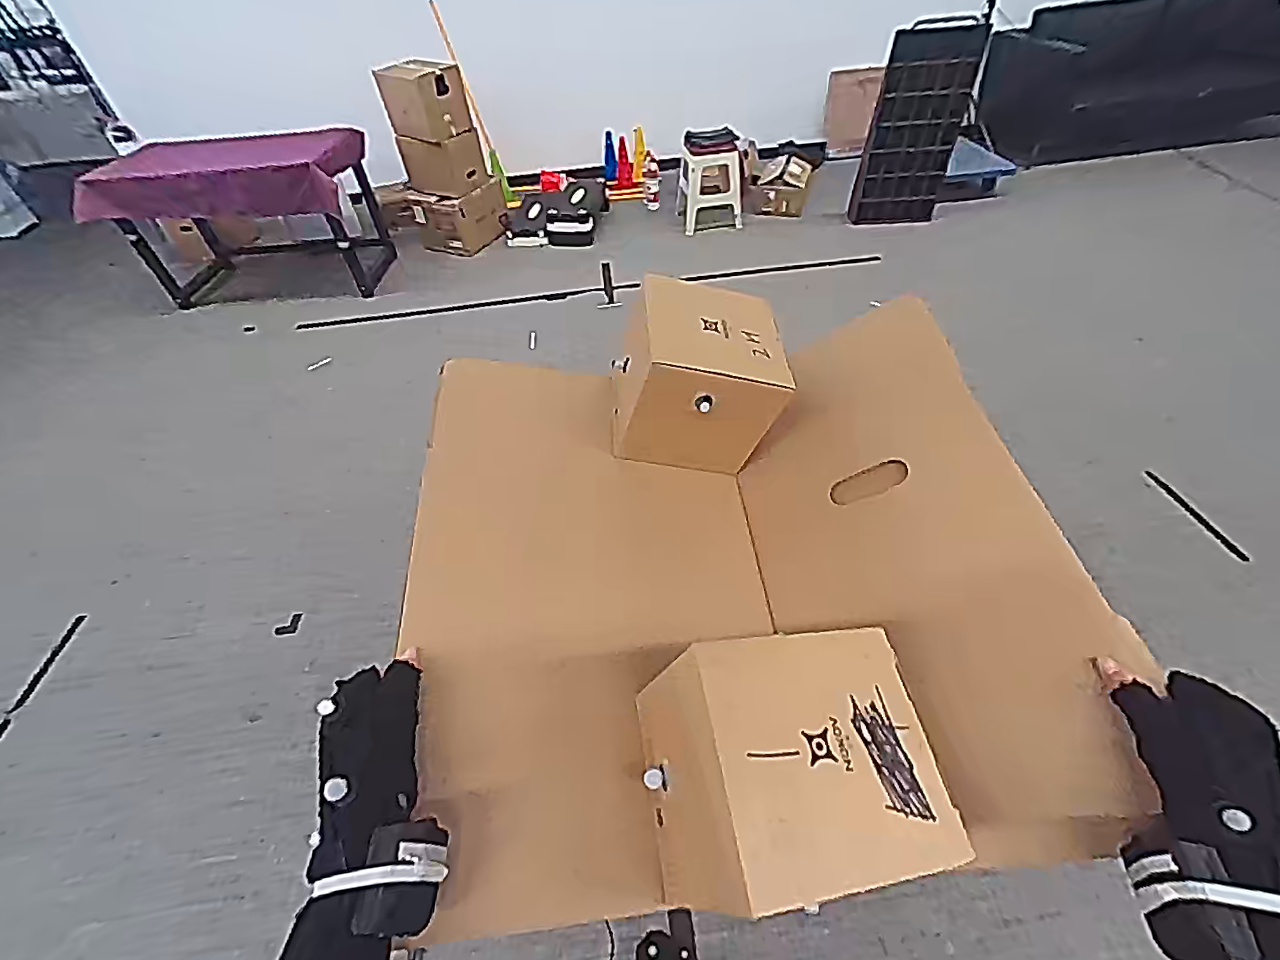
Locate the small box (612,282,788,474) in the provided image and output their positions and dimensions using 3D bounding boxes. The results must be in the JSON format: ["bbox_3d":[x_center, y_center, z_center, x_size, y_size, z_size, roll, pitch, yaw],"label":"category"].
[{"bbox_3d":[0.062,-0.124,0.705,0.179,0.176,0.168,8,53,-14],"label":"small box"}]
